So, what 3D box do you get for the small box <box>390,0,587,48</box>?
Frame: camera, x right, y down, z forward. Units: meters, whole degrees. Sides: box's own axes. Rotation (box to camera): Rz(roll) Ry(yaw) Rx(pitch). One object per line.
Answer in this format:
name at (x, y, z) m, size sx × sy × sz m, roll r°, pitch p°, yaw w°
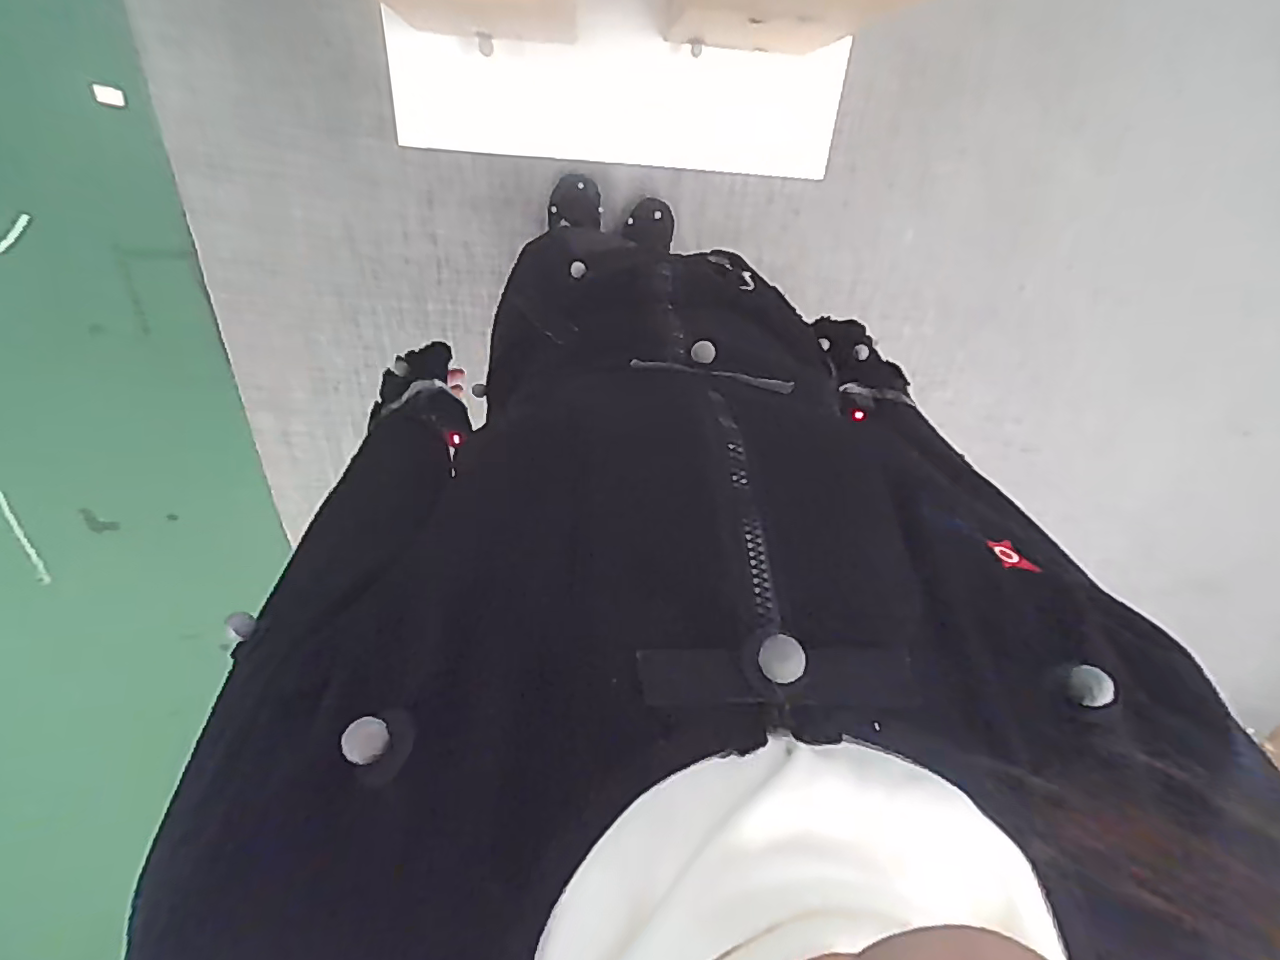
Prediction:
small box at (-0.131, -0.503, 0.470) m, size 0.168 × 0.176 × 0.179 m, roll -1°, pitch 122°, yaw -4°
